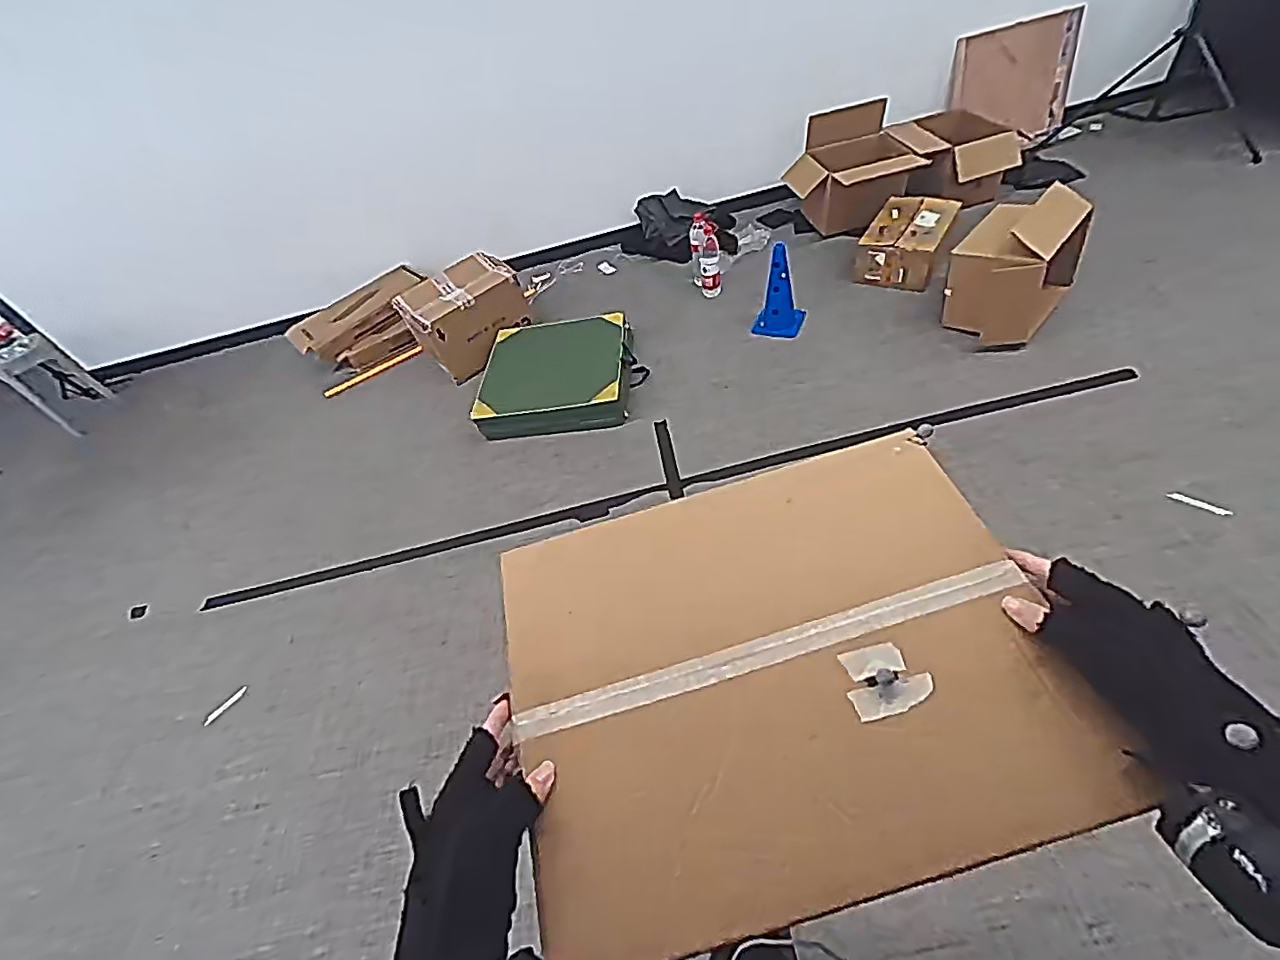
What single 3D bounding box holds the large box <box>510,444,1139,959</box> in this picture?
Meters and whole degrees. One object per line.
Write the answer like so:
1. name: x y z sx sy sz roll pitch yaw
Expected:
1. large box: 0.124 0.225 0.552 0.408 0.320 0.320 -17 54 -1
